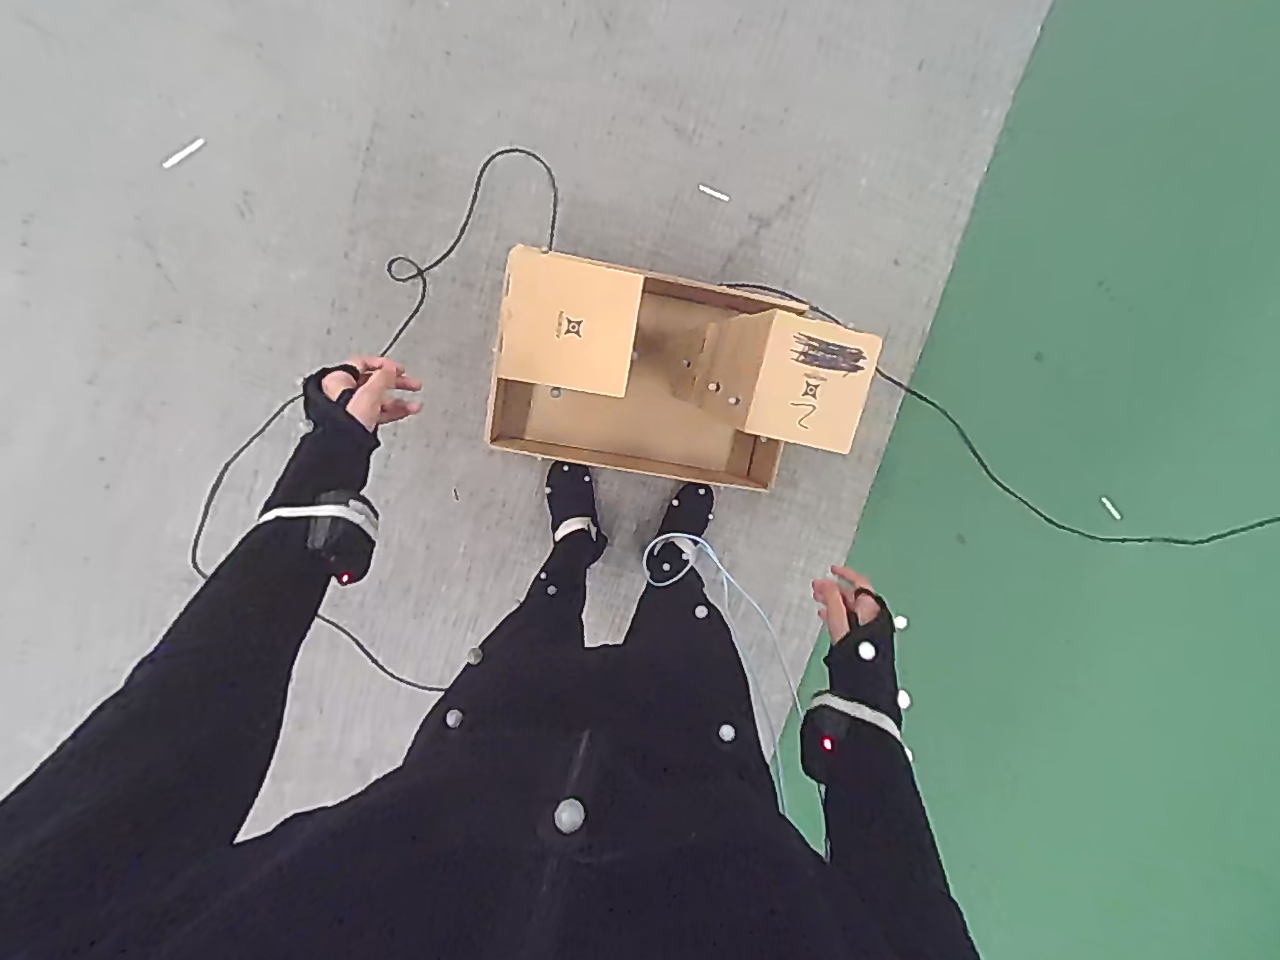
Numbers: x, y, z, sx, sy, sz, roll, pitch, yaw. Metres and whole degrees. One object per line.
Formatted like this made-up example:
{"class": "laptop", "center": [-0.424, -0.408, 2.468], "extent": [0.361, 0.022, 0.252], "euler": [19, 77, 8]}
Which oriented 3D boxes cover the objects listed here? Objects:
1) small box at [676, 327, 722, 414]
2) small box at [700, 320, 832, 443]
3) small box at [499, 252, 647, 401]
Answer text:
{"class": "small box", "center": [0.188, -0.216, 1.161], "extent": [0.179, 0.176, 0.168], "euler": [14, 99, -9]}
{"class": "small box", "center": [0.221, -0.180, 1.003], "extent": [0.168, 0.176, 0.179], "euler": [13, 98, -10]}
{"class": "small box", "center": [-0.098, -0.218, 0.793], "extent": [0.179, 0.176, 0.168], "euler": [9, 101, -8]}
